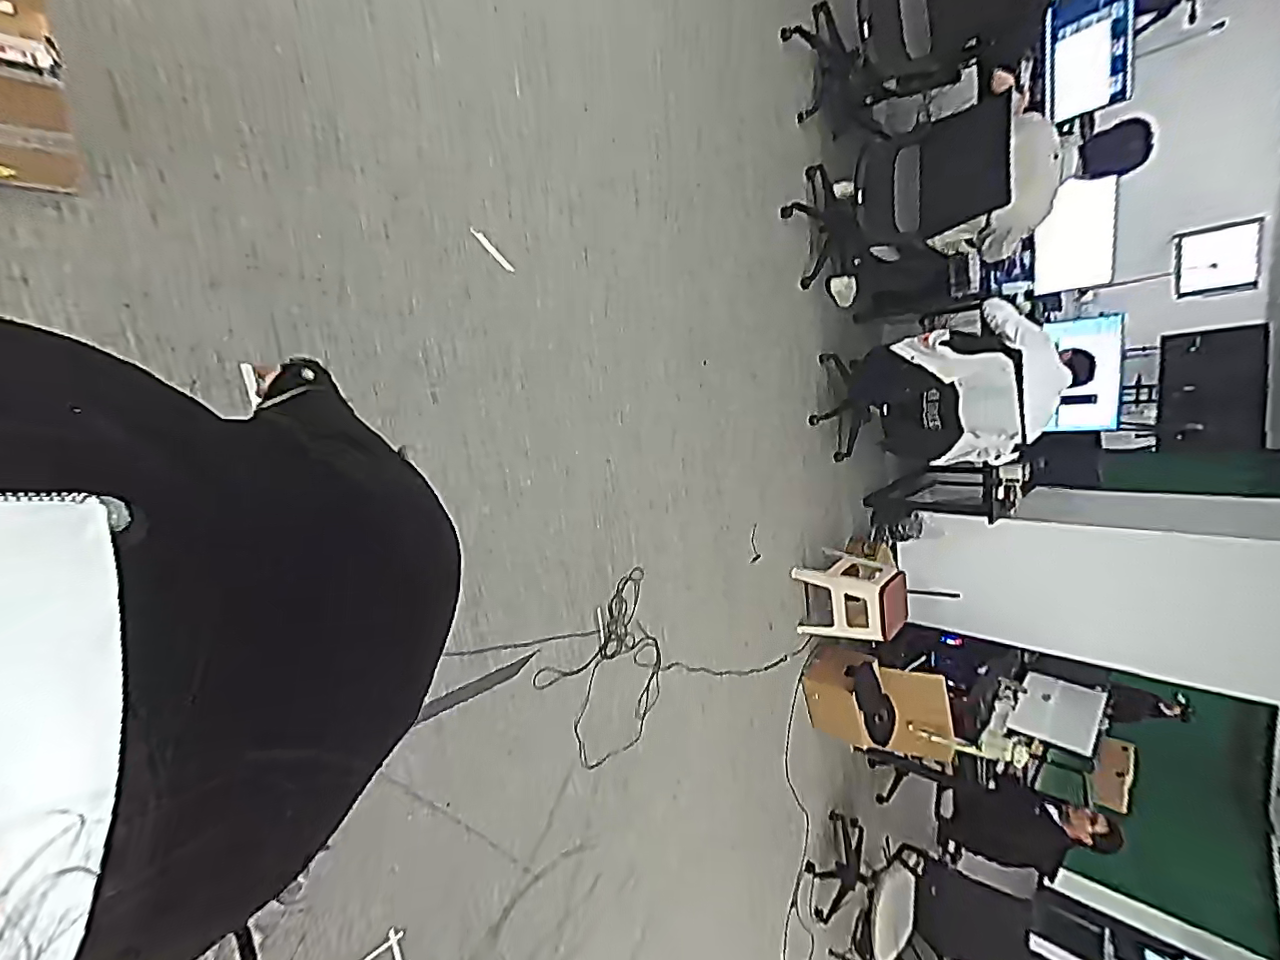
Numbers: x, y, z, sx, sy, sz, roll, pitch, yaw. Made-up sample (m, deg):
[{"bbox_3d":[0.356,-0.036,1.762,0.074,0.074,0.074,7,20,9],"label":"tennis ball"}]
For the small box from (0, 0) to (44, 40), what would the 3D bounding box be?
[{"bbox_3d":[-0.782,-0.619,0.576,0.179,0.176,0.168,-18,106,-43],"label":"small box"}]
